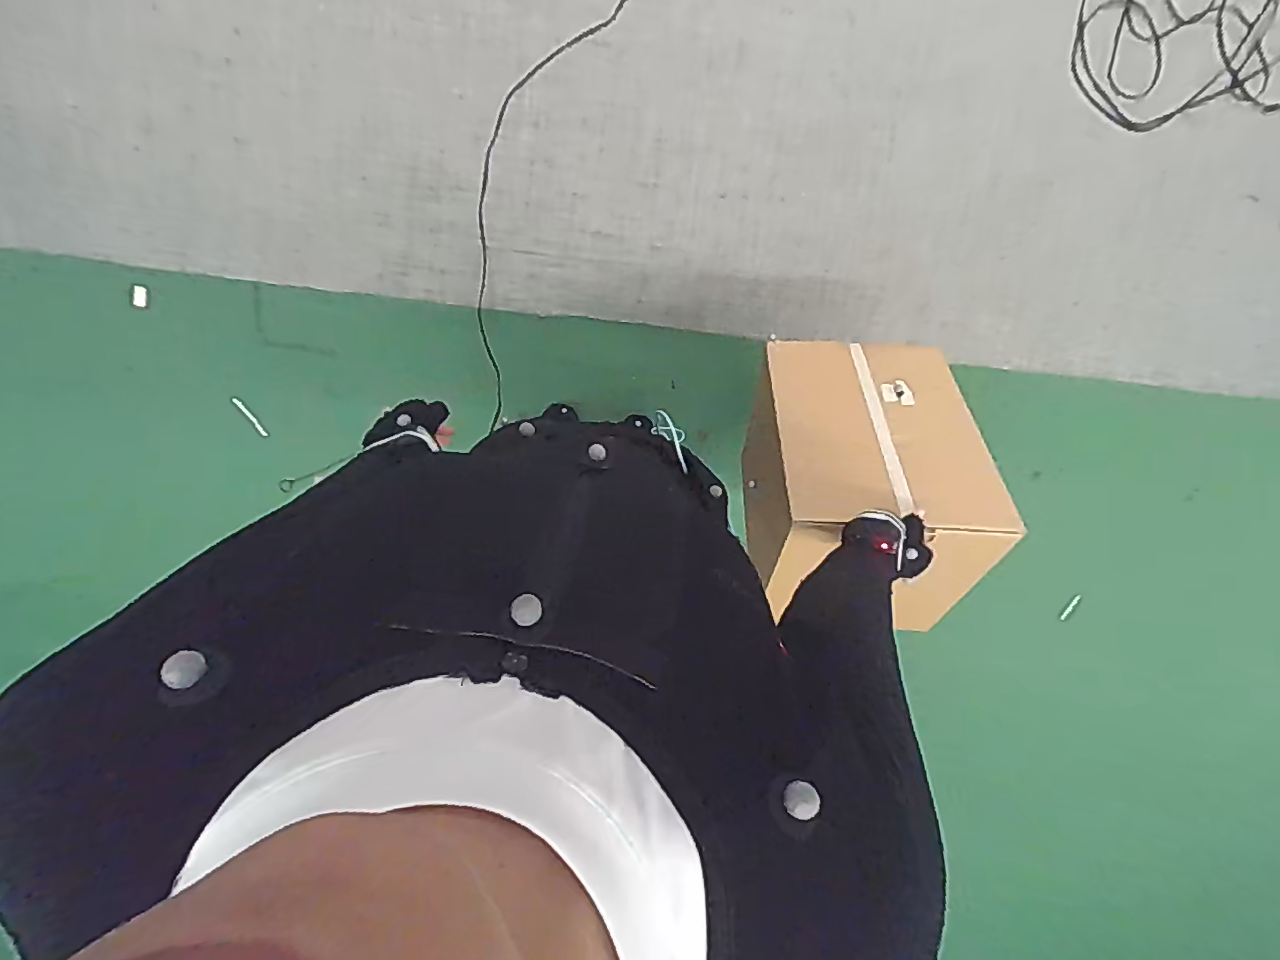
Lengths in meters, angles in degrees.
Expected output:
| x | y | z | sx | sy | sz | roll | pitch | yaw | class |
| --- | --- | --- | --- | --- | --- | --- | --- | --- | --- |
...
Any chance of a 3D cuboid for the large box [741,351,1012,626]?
| x | y | z | sx | sy | sz | roll | pitch | yaw | class |
| --- | --- | --- | --- | --- | --- | --- | --- | --- | --- |
| 0.370 | 0.015 | 0.986 | 0.320 | 0.408 | 0.320 | 3 | 139 | 1 | large box |
